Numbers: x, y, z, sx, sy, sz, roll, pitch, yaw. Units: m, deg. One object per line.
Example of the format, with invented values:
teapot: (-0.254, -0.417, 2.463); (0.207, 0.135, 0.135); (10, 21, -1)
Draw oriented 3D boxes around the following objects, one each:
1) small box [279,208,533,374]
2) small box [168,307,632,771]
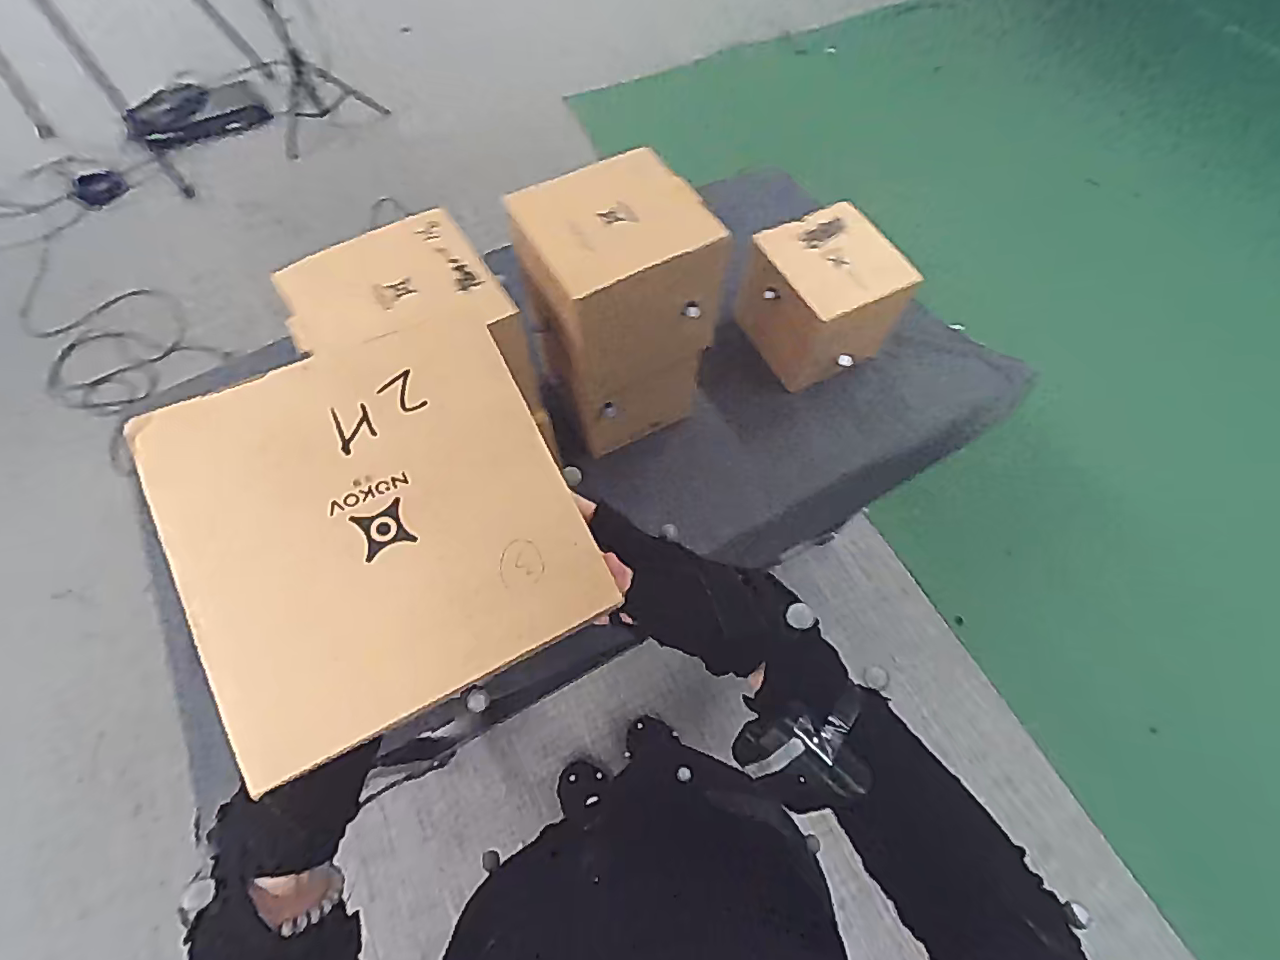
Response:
small box: (-0.228, -0.140, 0.576); (0.179, 0.176, 0.168); (-31, 70, -13)
small box: (-0.121, 0.035, 0.330); (0.168, 0.176, 0.179); (-24, 78, -15)
